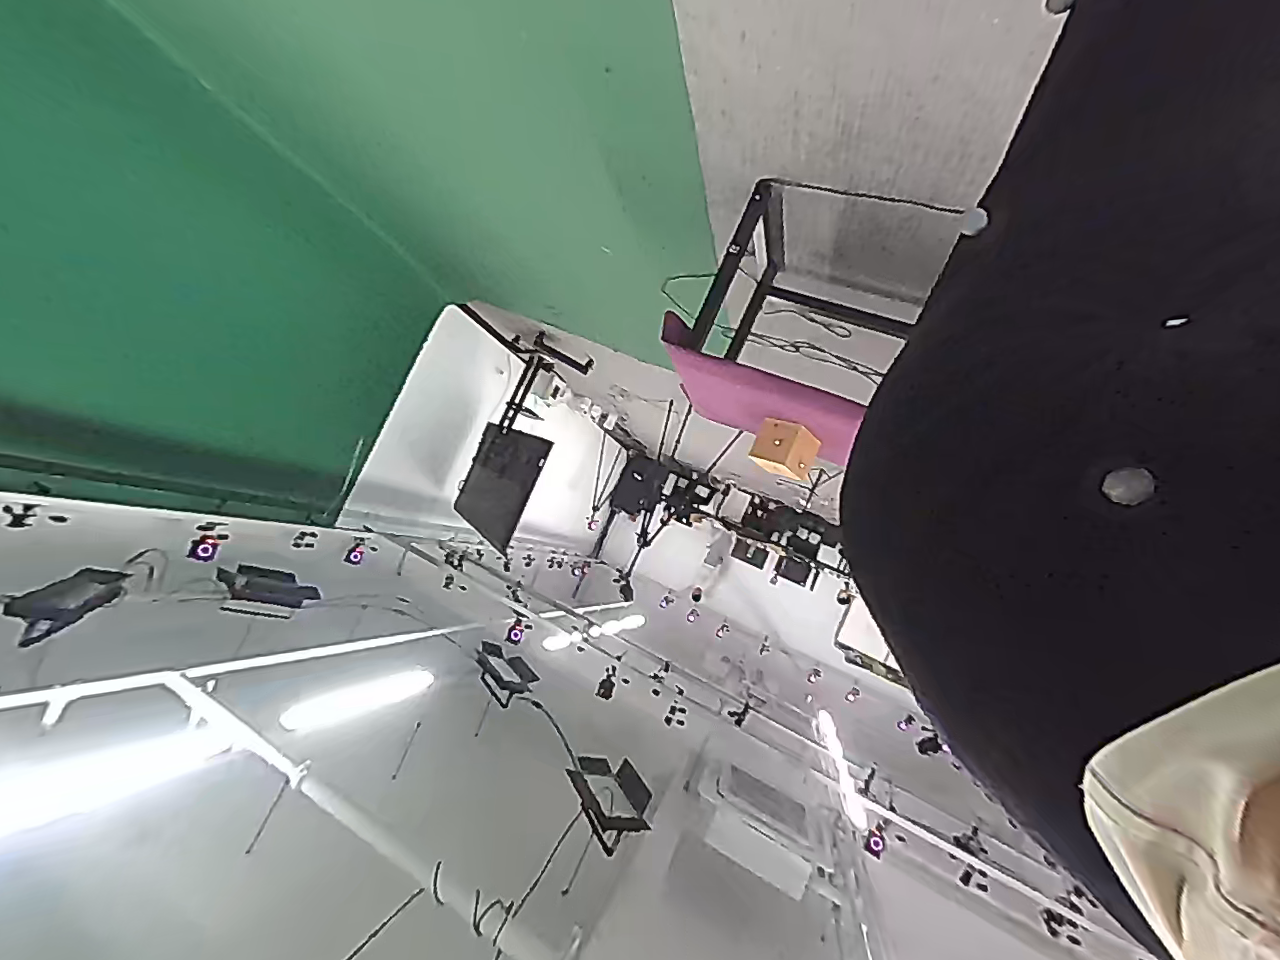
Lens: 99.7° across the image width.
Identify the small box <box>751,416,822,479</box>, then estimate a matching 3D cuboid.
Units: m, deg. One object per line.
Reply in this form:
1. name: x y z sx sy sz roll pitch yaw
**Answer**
1. small box: 0.554 -0.126 2.033 0.168 0.176 0.179 21 175 44
